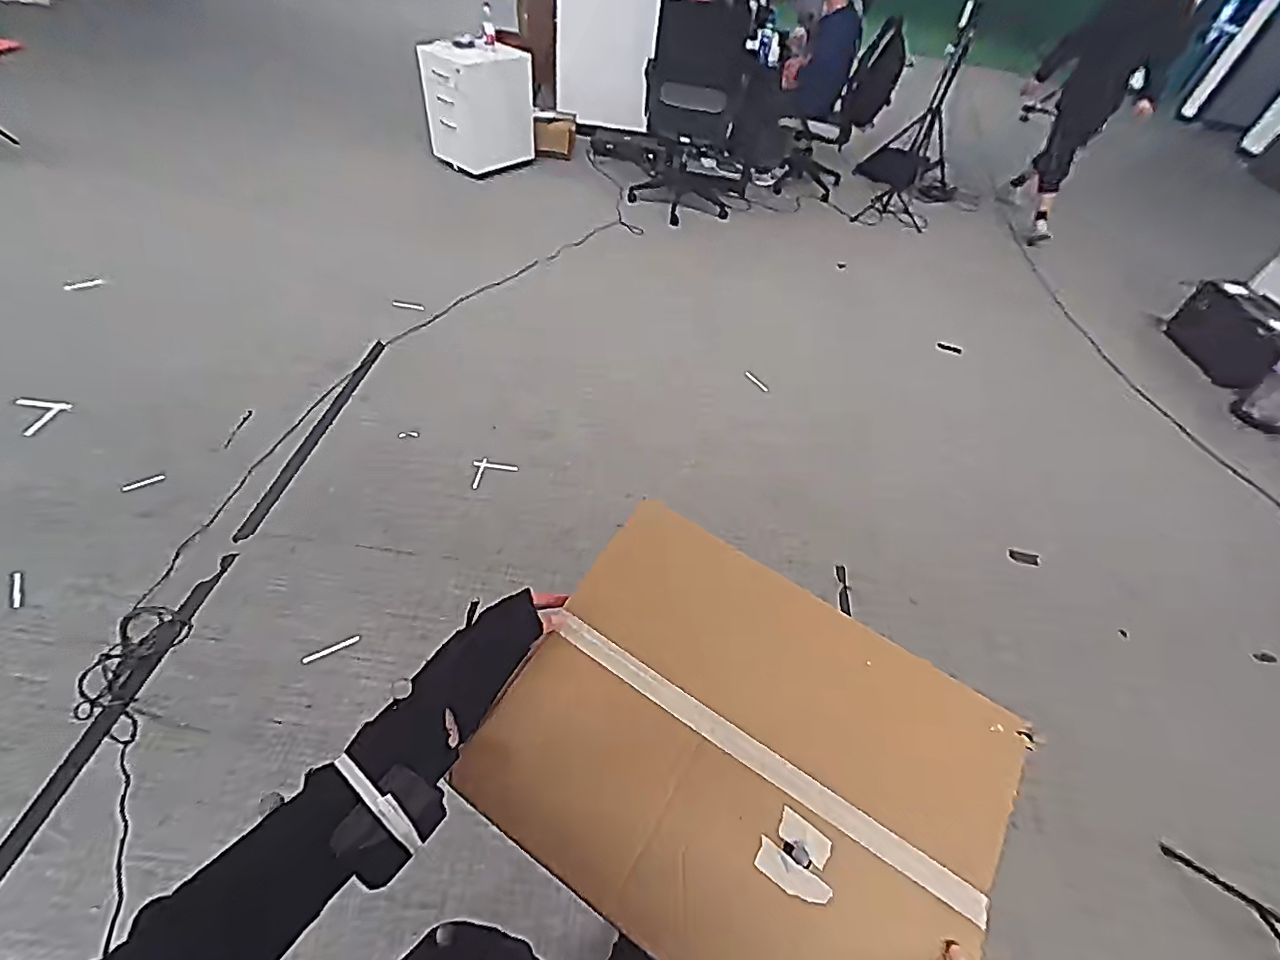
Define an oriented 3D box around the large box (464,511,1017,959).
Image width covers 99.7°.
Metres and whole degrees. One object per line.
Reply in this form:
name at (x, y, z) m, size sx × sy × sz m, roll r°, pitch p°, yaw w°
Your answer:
large box at (0.088, 0.308, 0.598) m, size 0.408 × 0.320 × 0.320 m, roll 31°, pitch 64°, yaw 13°
